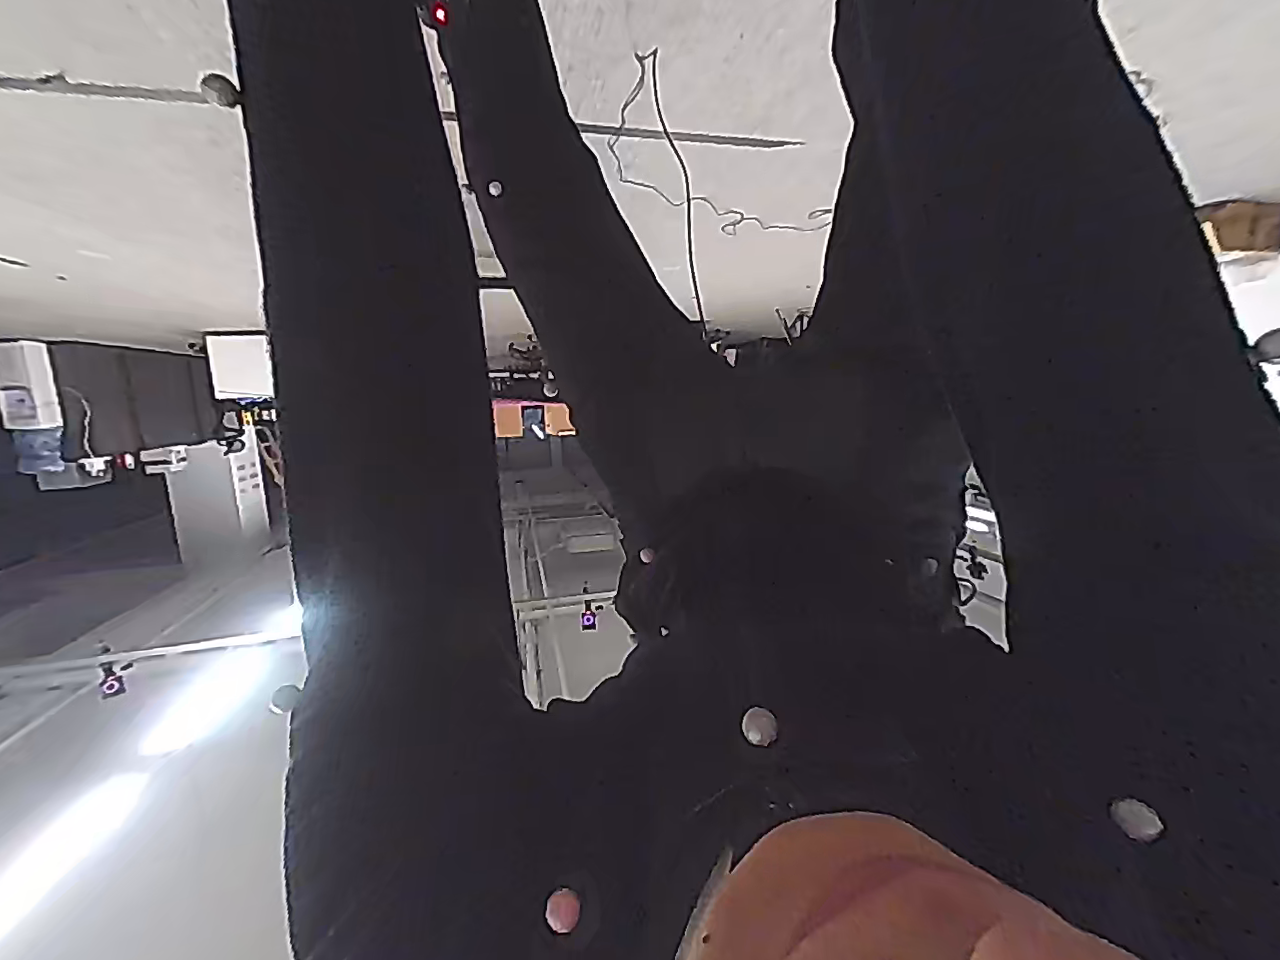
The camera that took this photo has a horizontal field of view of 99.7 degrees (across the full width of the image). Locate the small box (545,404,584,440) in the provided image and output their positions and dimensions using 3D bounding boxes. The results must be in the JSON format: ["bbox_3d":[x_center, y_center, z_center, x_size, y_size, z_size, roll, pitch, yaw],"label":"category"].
[{"bbox_3d":[-0.397,-0.304,2.813,0.168,0.176,0.179,-5,-171,-20],"label":"small box"}]
